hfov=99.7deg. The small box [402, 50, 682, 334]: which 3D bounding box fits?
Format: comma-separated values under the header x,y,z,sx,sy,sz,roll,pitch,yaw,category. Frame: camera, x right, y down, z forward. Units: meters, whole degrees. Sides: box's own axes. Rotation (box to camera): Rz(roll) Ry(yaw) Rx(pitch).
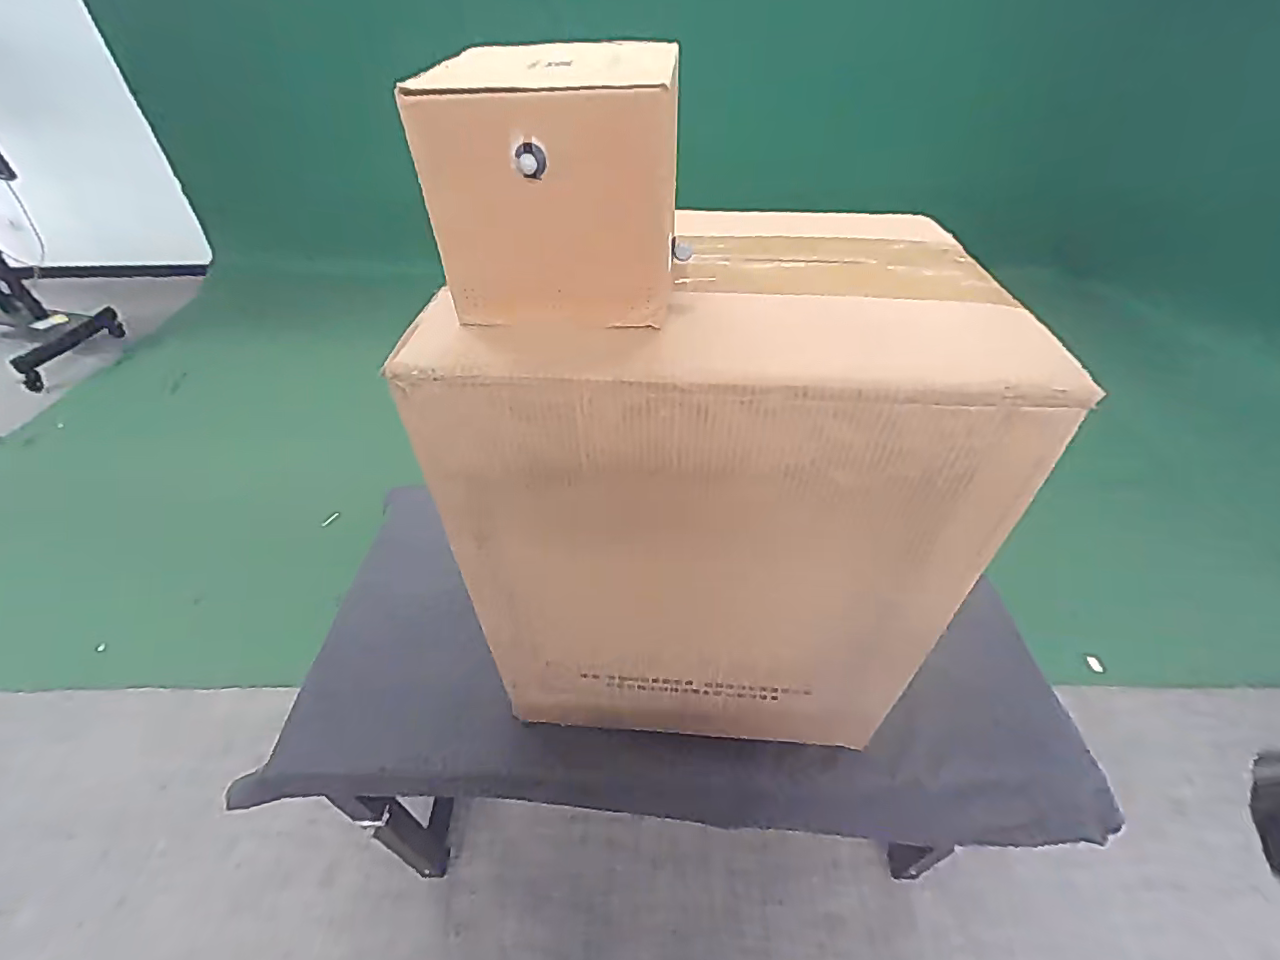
x,y,z,sx,sy,sz,roll,pitch,yaw,category
-0.059,-0.236,0.447,0.179,0.176,0.168,4,47,3,small box
